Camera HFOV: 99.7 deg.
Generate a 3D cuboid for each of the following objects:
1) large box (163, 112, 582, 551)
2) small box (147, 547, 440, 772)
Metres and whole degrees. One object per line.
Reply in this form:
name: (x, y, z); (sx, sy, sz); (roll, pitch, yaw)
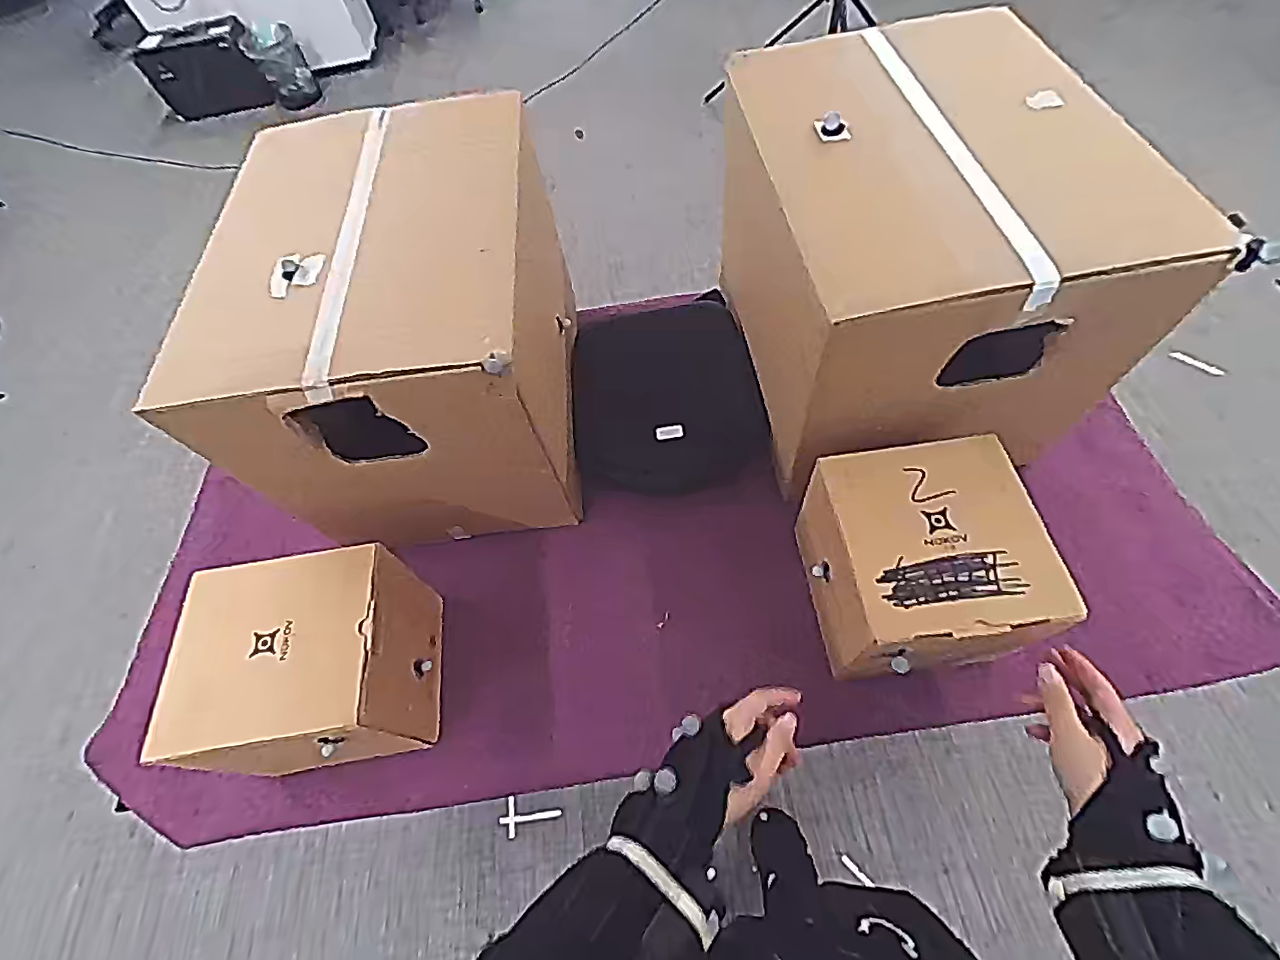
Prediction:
large box: (-0.257, -0.163, 0.666); (0.320, 0.320, 0.408); (-8, 63, 3)
small box: (-0.324, 0.189, 0.550); (0.179, 0.176, 0.168); (-10, 59, -3)
